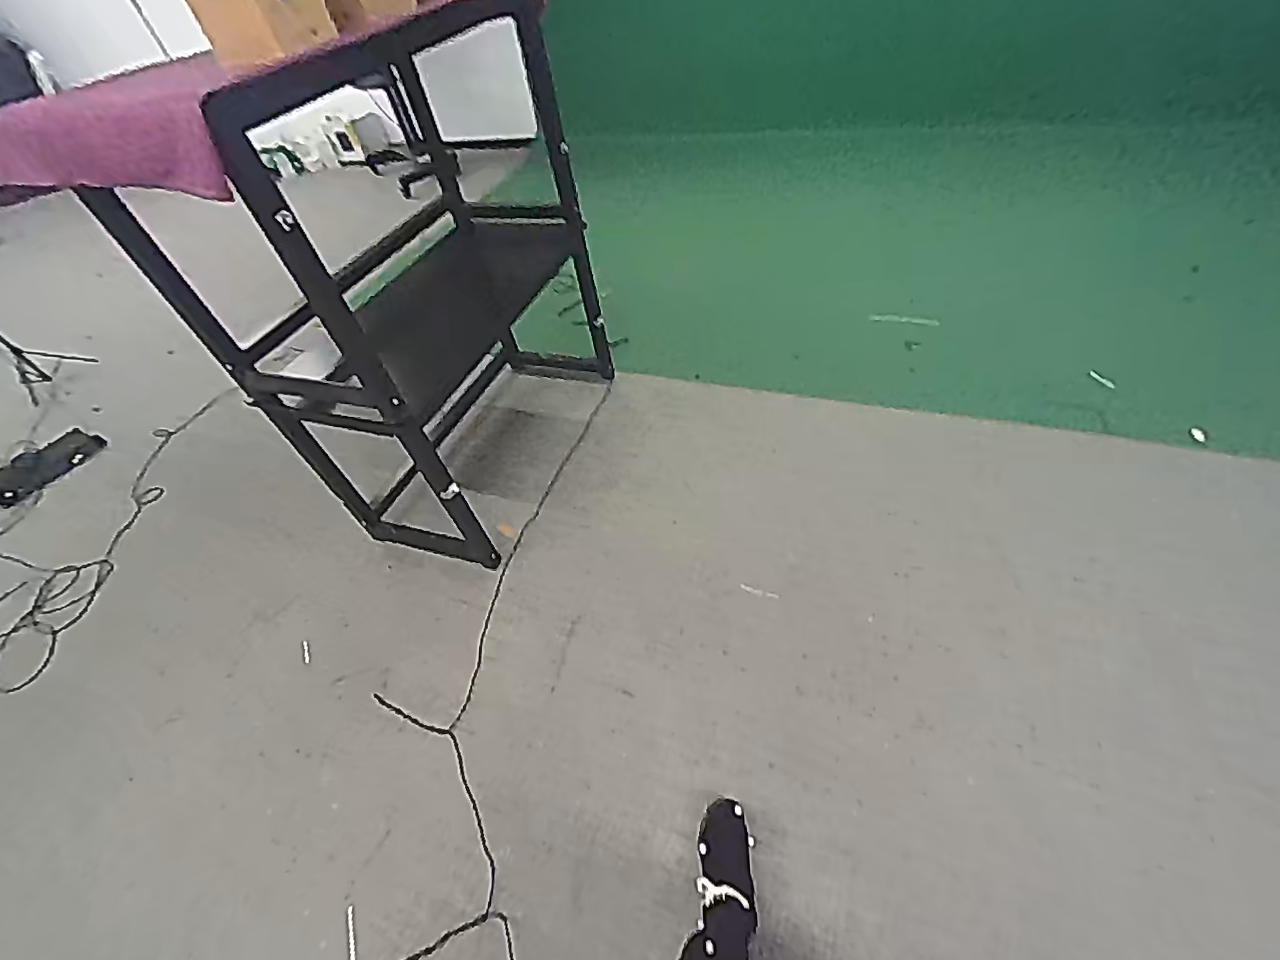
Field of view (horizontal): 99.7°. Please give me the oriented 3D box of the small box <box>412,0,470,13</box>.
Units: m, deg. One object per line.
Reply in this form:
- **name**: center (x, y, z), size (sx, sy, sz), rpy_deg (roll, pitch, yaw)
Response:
- **small box**: center (-0.536, -1.327, 1.388), size (0.168, 0.176, 0.179), rpy_deg (11, 53, 19)

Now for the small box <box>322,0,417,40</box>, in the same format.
- **small box**: center (-0.641, -1.114, 1.218), size (0.168, 0.176, 0.179), rpy_deg (11, 51, 20)

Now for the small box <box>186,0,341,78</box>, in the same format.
- **small box**: center (-0.734, -0.914, 1.055), size (0.179, 0.176, 0.168), rpy_deg (9, 50, 20)
